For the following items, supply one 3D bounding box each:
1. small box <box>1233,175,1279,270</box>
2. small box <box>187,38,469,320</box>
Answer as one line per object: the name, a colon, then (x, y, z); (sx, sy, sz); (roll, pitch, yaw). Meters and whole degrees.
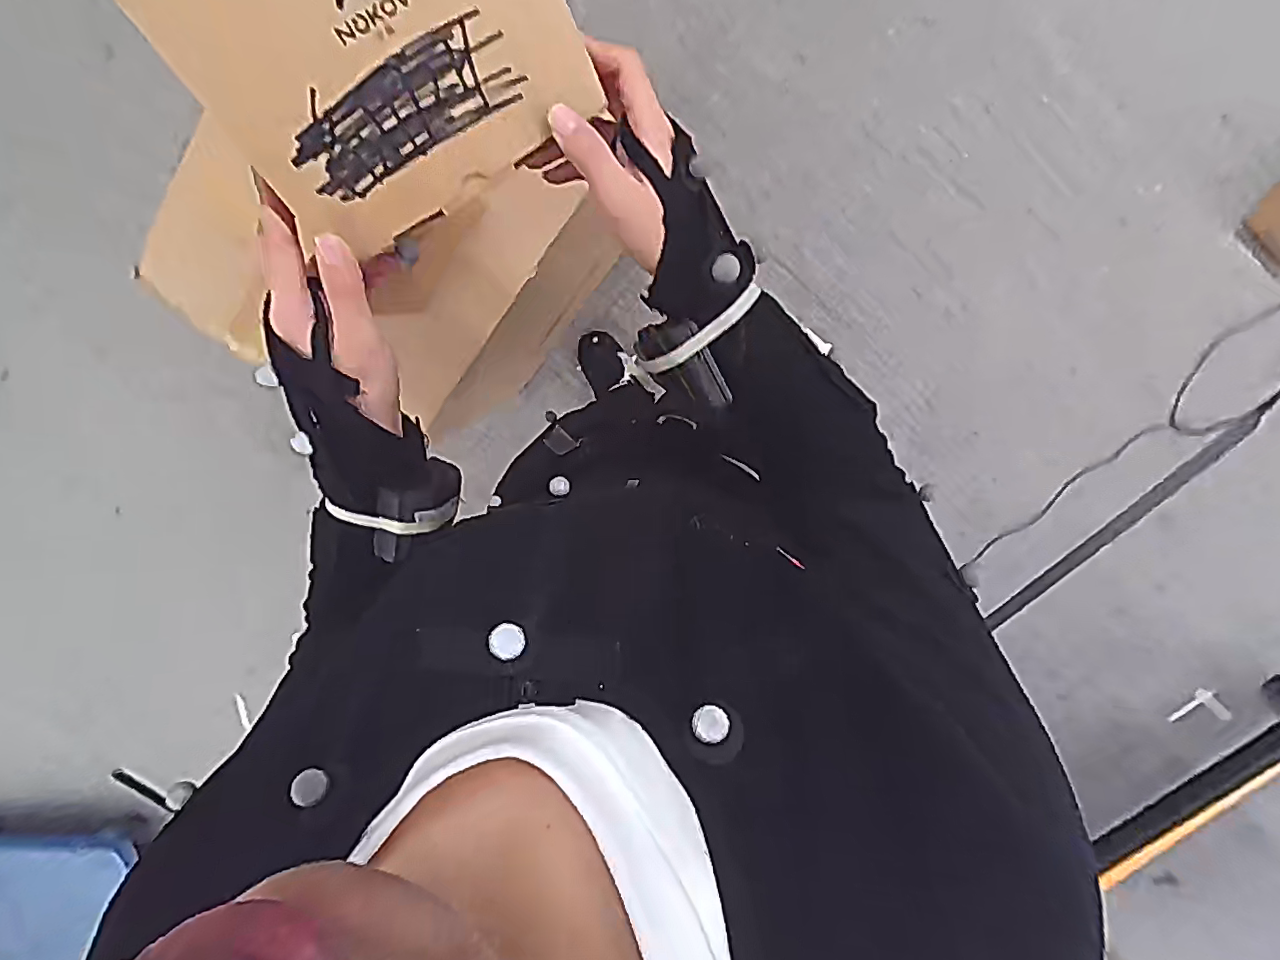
small box: (1.377, -0.545, 1.076); (0.168, 0.176, 0.179); (38, 106, -9)
small box: (-0.305, -0.292, 0.571); (0.168, 0.176, 0.179); (37, 105, -9)
